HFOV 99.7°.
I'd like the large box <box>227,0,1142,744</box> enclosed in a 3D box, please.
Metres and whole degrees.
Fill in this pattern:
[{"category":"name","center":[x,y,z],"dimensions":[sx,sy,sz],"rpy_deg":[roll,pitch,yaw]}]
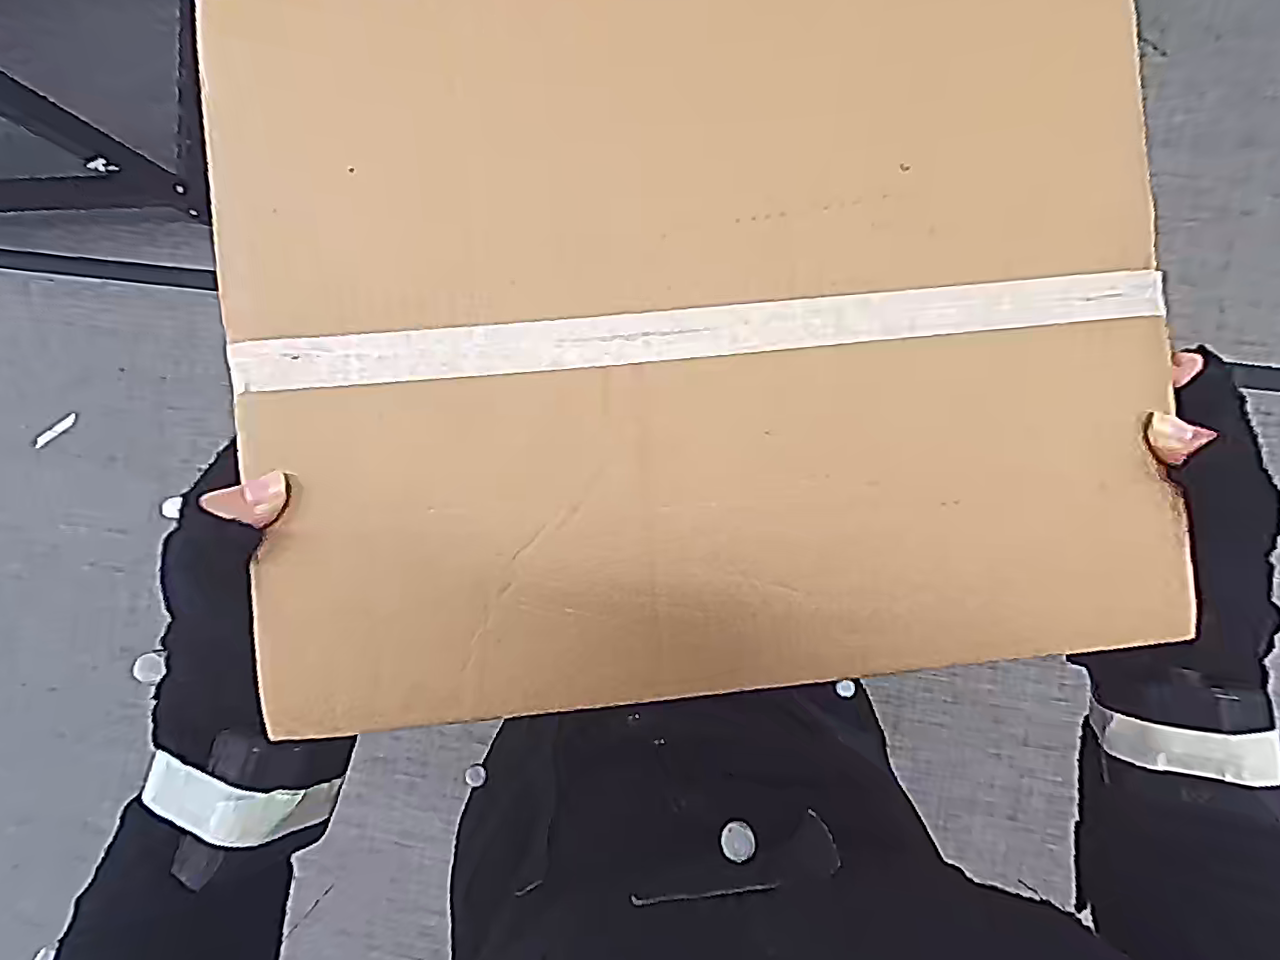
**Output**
[{"category":"large box","center":[0.023,-0.057,0.397],"dimensions":[0.408,0.320,0.320],"rpy_deg":[-6,89,-3]}]
